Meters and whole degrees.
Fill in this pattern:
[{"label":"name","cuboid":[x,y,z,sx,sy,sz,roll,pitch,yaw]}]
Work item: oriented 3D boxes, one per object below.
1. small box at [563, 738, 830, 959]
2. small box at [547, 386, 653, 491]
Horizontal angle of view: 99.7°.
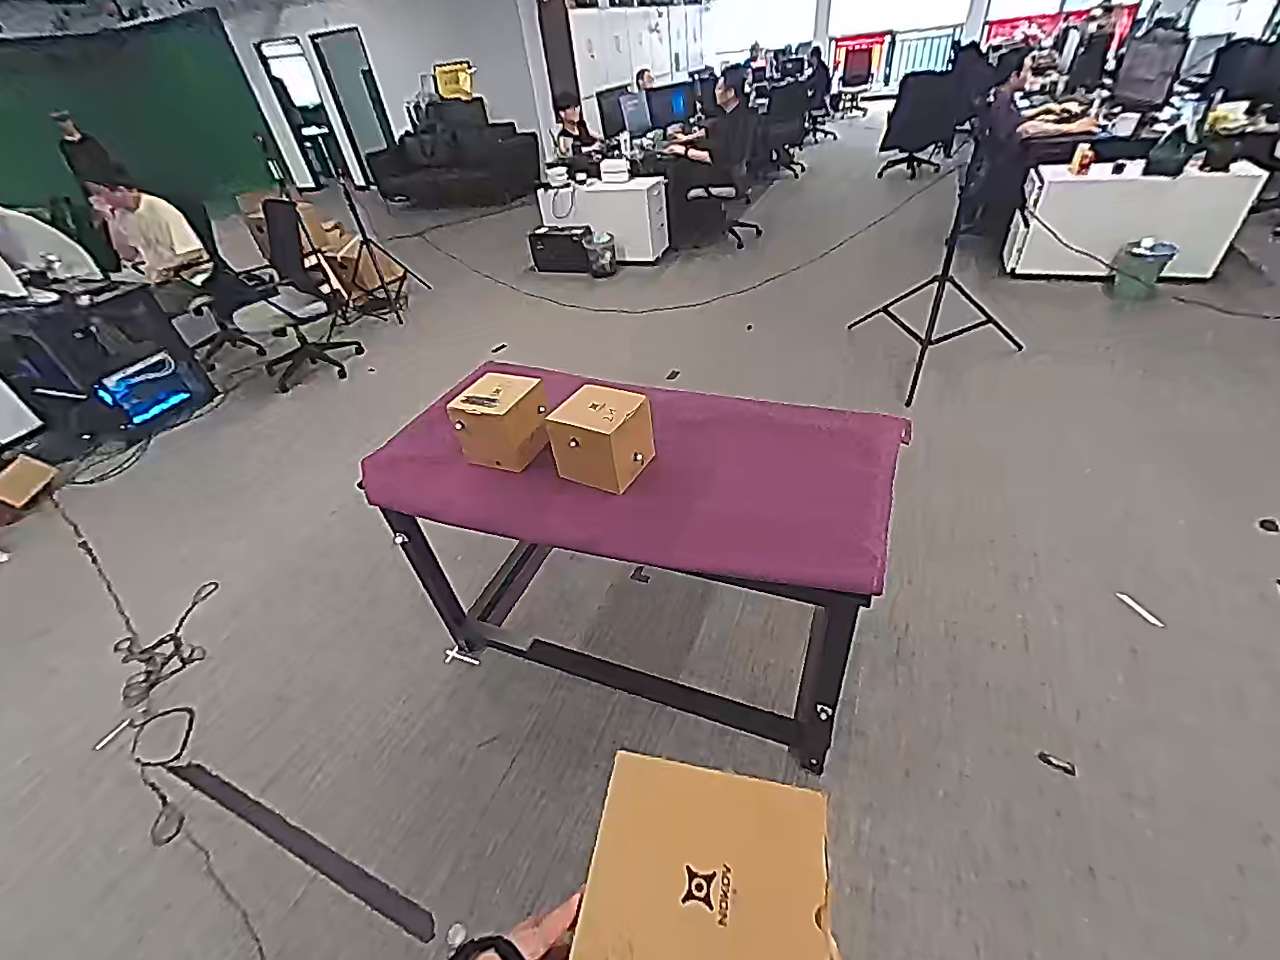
[{"label":"small box","cuboid":[0.053,0.346,0.450,0.179,0.176,0.168,6,43,11]},{"label":"small box","cuboid":[-0.086,-0.096,1.254,0.179,0.176,0.168,16,45,26]}]
